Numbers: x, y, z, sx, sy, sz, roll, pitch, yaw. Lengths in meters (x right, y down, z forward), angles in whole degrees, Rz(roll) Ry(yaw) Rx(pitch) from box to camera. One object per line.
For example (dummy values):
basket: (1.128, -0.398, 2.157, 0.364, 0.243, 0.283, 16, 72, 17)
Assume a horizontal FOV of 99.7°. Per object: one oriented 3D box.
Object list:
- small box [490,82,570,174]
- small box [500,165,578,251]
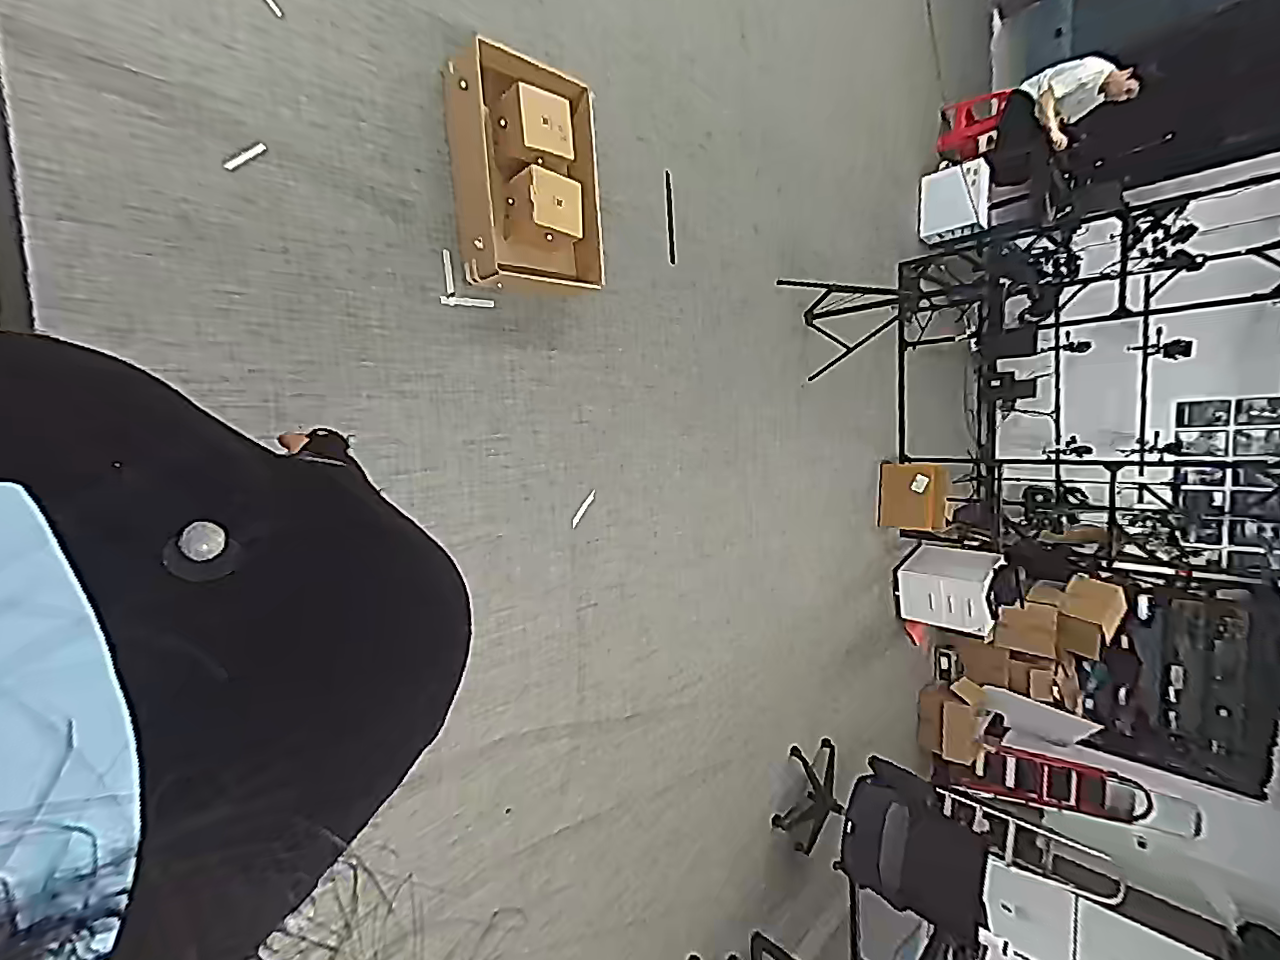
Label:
small box: (-0.332, -1.029, 1.605, 0.179, 0.176, 0.168, -12, 103, -44)
small box: (-0.307, -0.816, 1.646, 0.179, 0.176, 0.168, -2, 93, -44)
